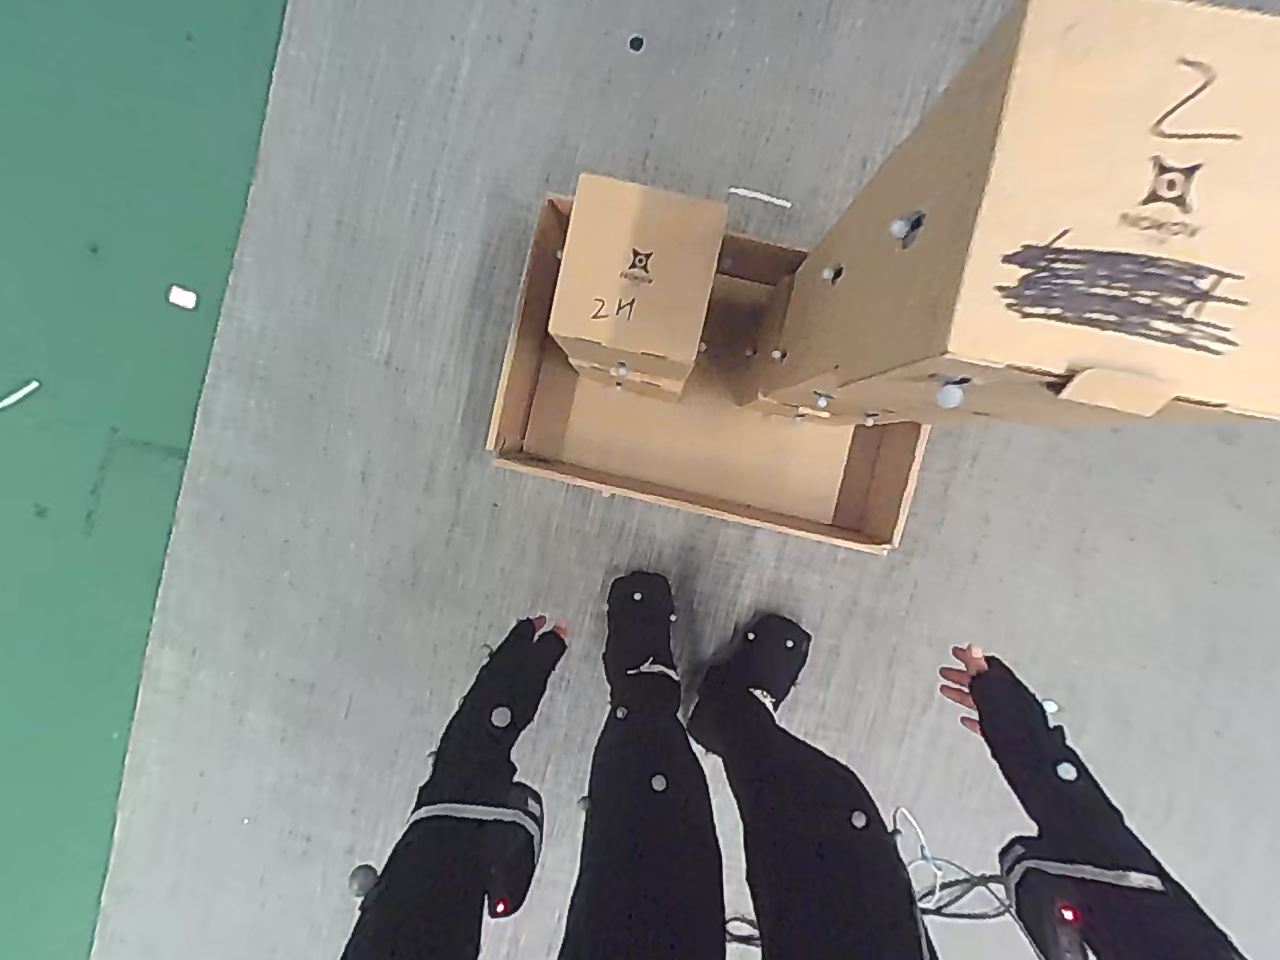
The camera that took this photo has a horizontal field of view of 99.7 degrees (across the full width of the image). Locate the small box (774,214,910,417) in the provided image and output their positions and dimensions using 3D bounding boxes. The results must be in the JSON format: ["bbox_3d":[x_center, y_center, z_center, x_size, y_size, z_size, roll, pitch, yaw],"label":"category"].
[{"bbox_3d":[0.267,-0.175,0.636,0.168,0.176,0.179,14,95,1],"label":"small box"}]

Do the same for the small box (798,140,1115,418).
[{"bbox_3d":[0.257,-0.158,0.490,0.168,0.176,0.179,14,95,1],"label":"small box"}]

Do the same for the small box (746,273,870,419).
[{"bbox_3d":[0.261,-0.190,0.817,0.168,0.176,0.179,9,94,3],"label":"small box"}]

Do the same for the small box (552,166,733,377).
[{"bbox_3d":[0.002,-0.235,0.655,0.168,0.176,0.179,13,94,0],"label":"small box"}]
